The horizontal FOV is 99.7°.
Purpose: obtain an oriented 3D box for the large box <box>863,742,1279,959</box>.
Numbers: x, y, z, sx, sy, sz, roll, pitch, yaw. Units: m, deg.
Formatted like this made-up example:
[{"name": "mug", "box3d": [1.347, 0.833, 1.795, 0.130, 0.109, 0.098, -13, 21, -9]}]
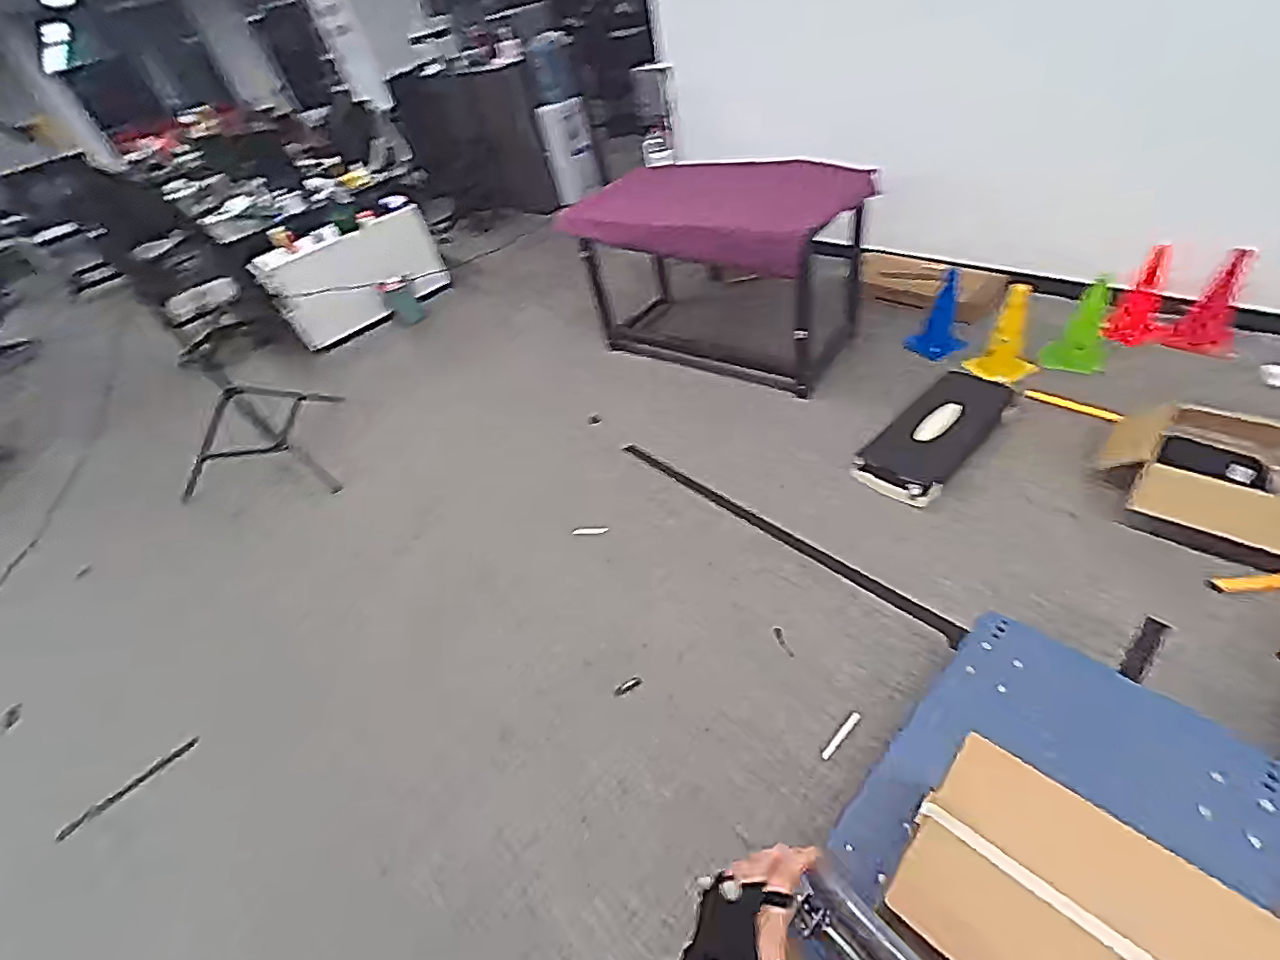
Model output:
[{"name": "large box", "box3d": [0.622, 0.709, 0.840, 0.408, 0.320, 0.320, 29, 59, 35]}]
